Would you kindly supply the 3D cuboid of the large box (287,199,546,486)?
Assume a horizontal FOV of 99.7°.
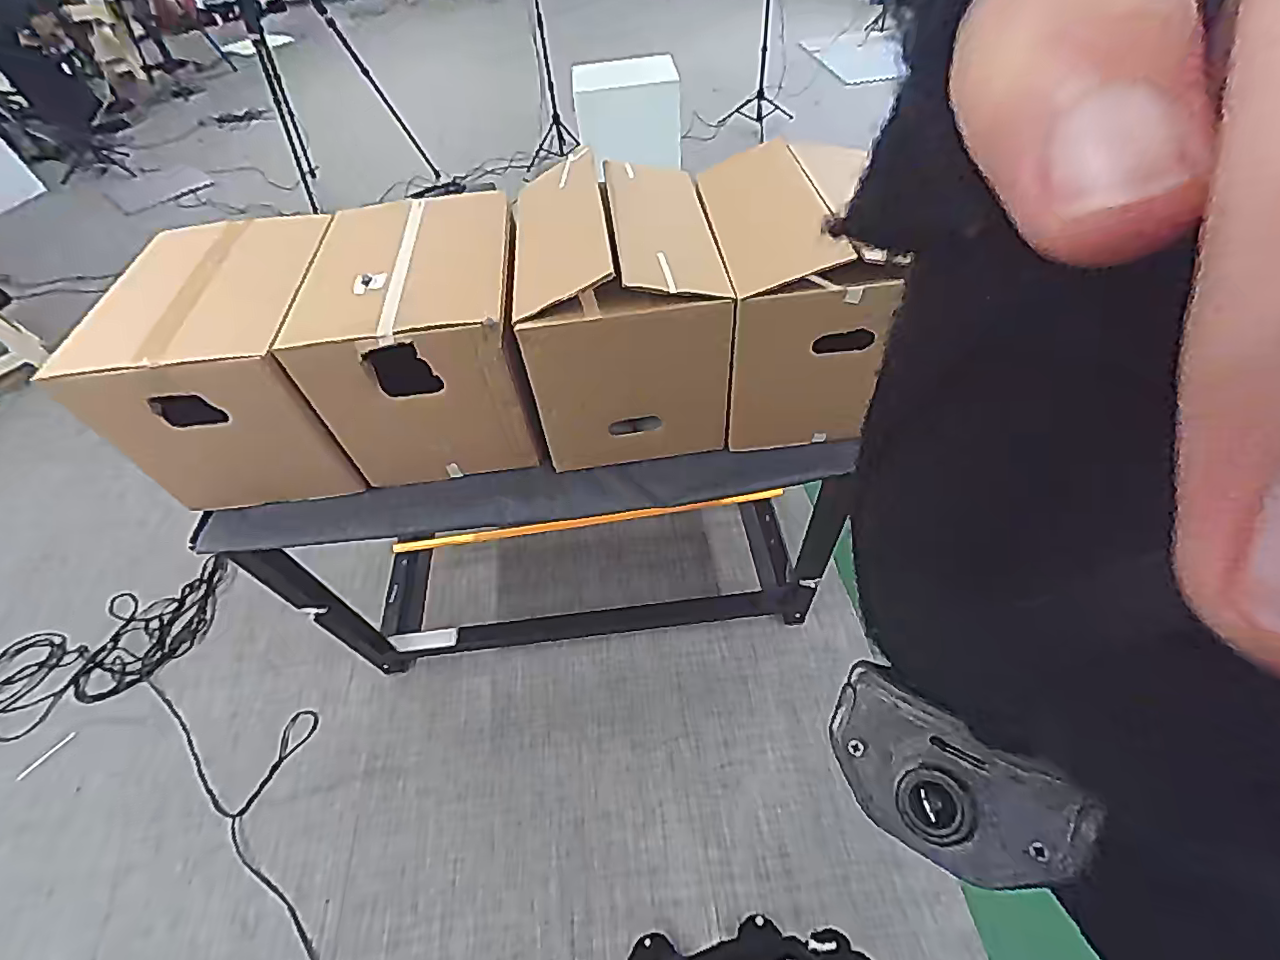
[{"bbox_3d":[-0.354,-0.250,0.983,0.320,0.320,0.408,-8,52,-1],"label":"large box"}]
